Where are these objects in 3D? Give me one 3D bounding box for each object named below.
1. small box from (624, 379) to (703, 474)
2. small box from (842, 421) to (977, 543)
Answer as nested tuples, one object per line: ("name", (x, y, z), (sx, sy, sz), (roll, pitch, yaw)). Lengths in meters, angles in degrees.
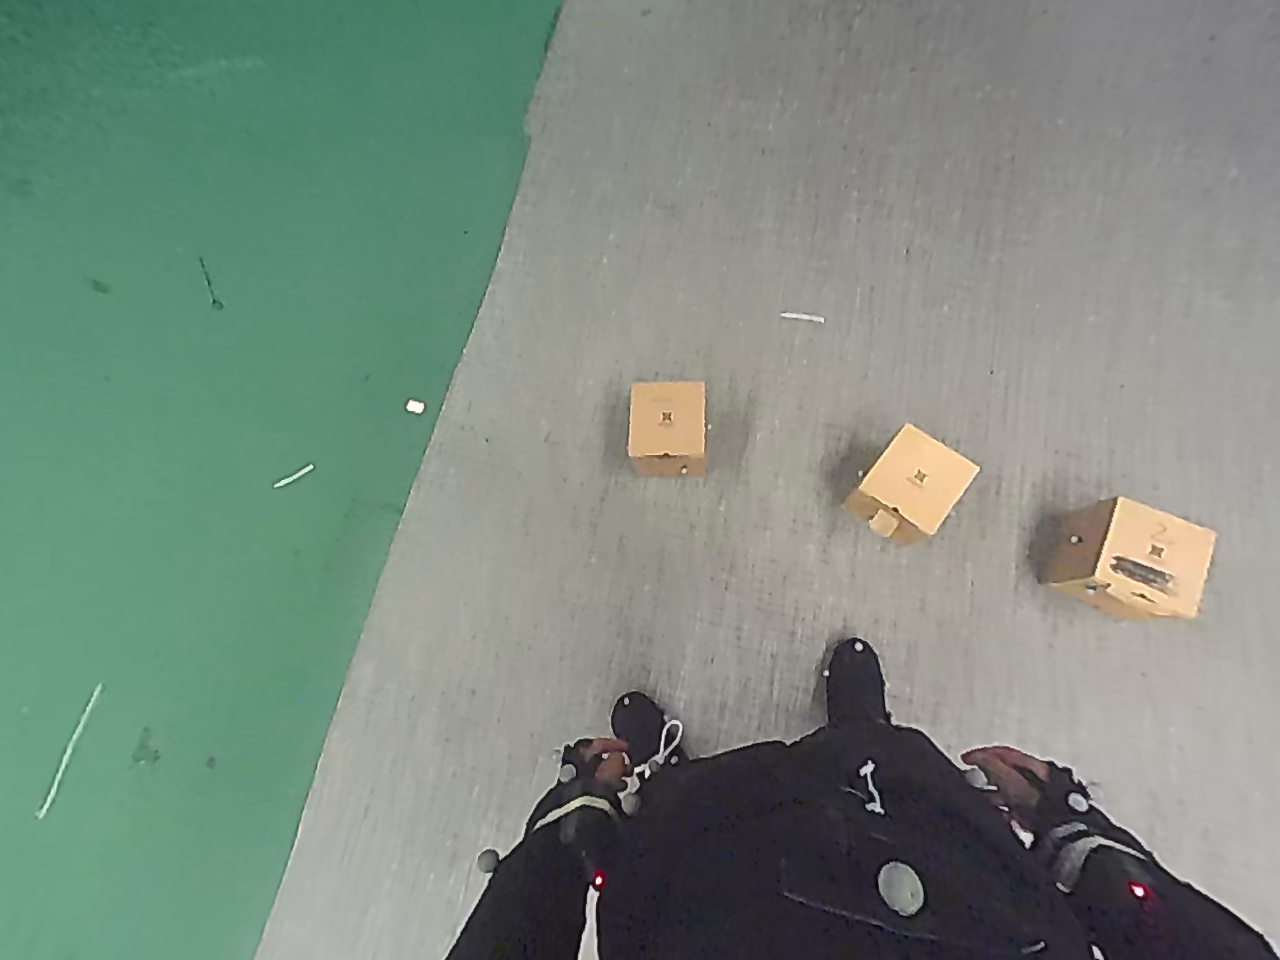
("small box", (0.060, -0.117, 1.240), (0.168, 0.176, 0.179), (0, 74, 6))
("small box", (0.554, 0.011, 1.141), (0.168, 0.176, 0.179), (37, 83, 14))
